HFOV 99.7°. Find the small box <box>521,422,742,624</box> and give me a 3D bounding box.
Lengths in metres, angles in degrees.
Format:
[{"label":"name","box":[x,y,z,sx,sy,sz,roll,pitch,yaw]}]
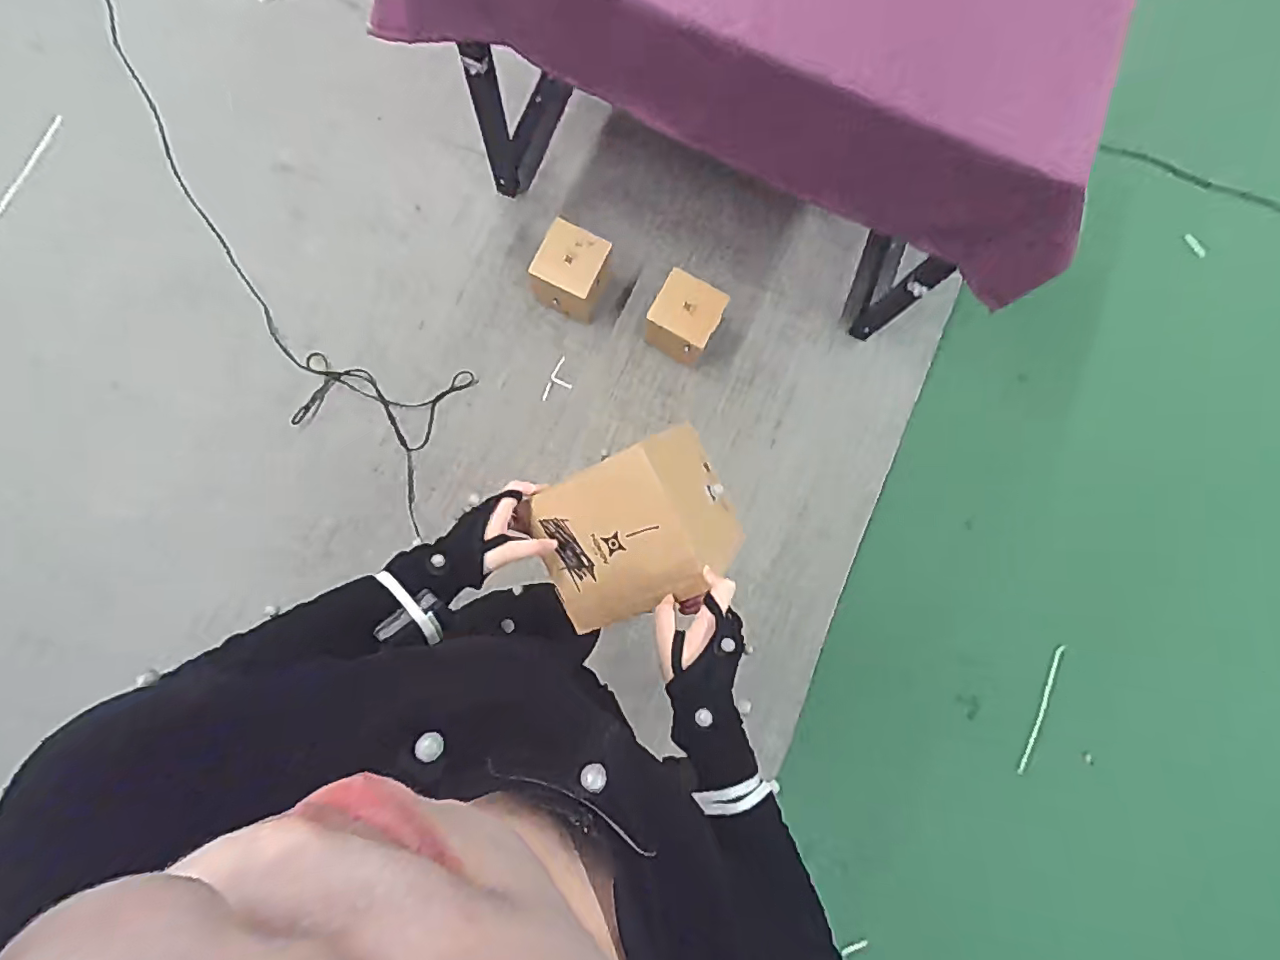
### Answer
[{"label":"small box","box":[-0.001,0.044,0.644,0.179,0.176,0.168,-25,92,25]}]
